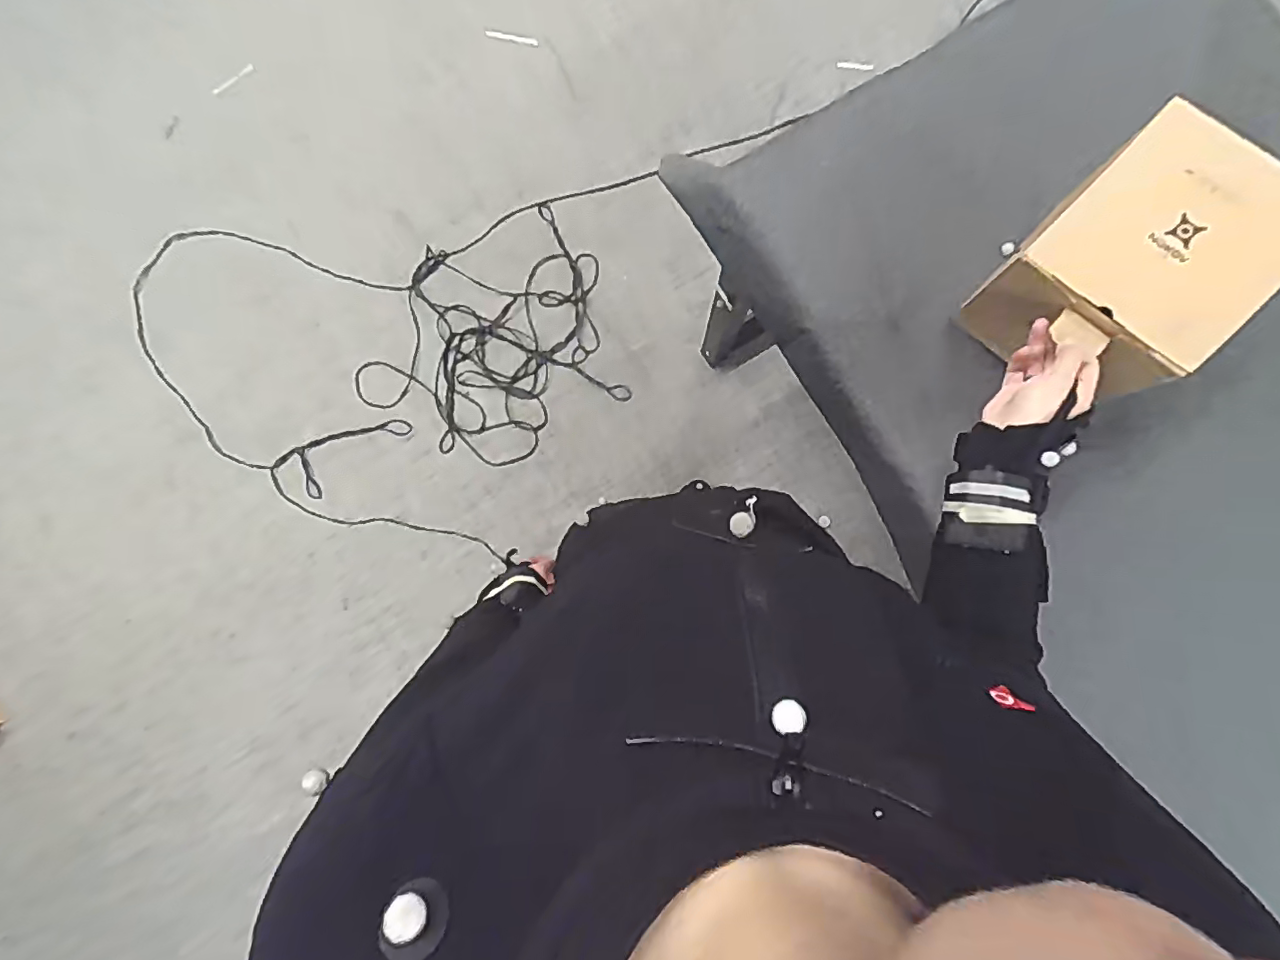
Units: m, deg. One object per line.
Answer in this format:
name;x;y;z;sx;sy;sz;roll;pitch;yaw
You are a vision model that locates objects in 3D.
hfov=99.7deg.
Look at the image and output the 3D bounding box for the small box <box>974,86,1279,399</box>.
small box;0.459;-0.200;0.512;0.168;0.176;0.179;43;94;9
